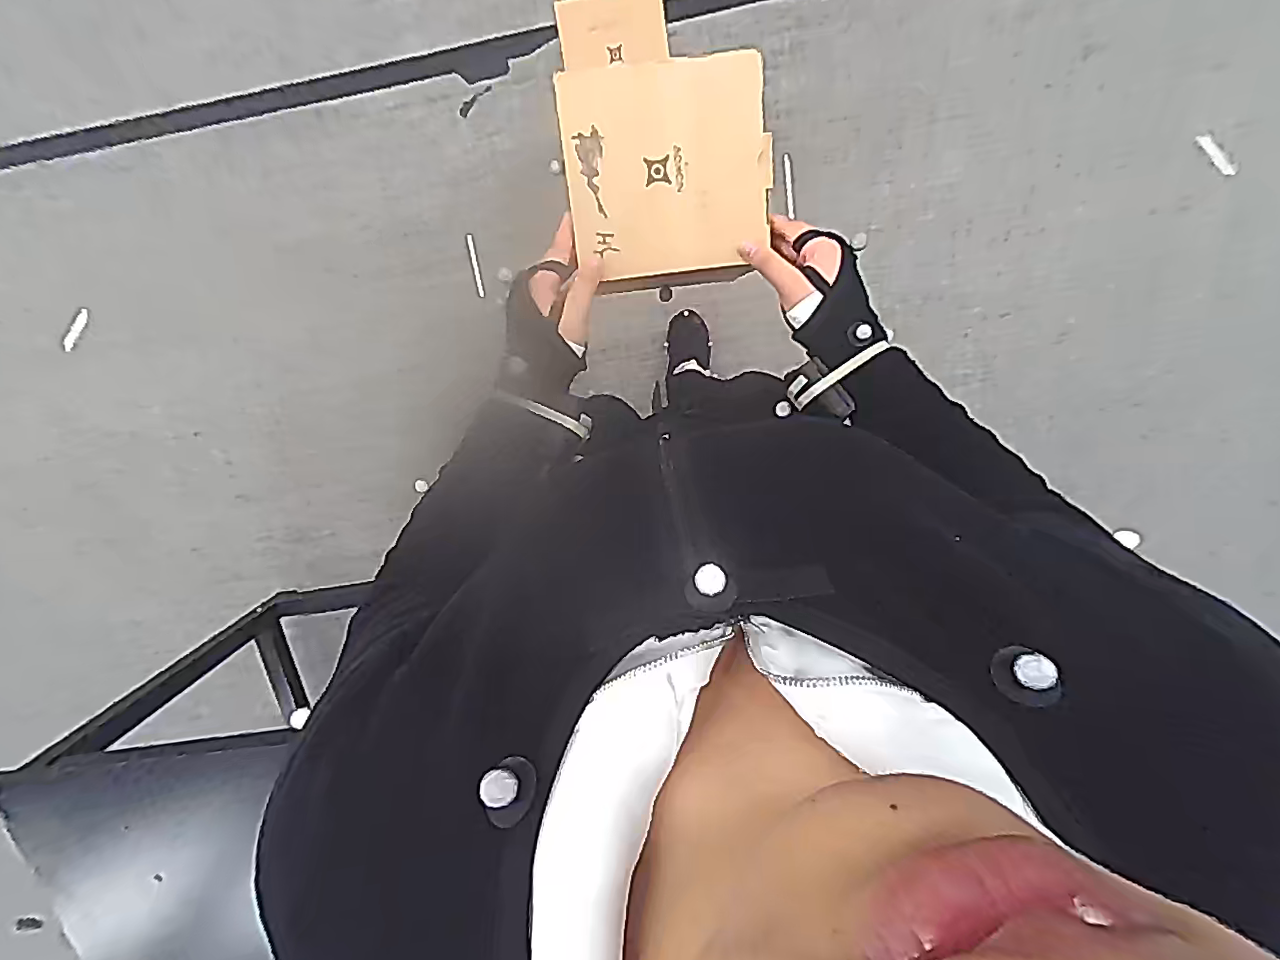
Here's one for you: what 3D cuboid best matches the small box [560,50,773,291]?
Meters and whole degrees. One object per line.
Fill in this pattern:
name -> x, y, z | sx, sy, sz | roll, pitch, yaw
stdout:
small box -> 0.020, -0.289, 0.540 | 0.179, 0.176, 0.168 | -7, 104, -2
